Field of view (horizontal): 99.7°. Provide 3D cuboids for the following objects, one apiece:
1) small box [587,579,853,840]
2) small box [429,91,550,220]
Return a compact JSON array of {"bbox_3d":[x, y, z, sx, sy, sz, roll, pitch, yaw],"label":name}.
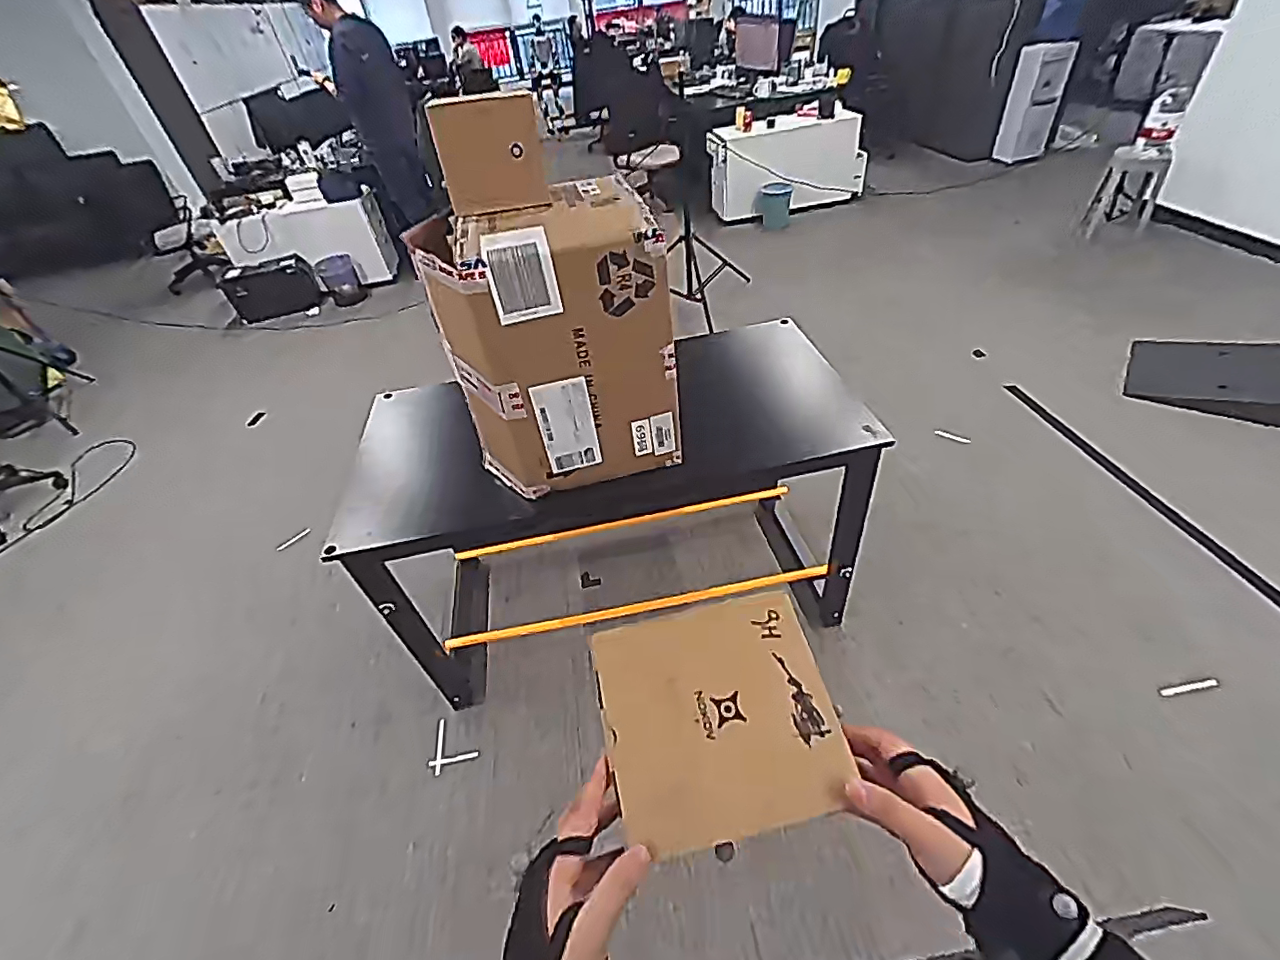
[{"bbox_3d":[0.060,0.214,0.492,0.179,0.176,0.168,-12,56,-4],"label":"small box"},{"bbox_3d":[-0.266,-0.595,0.990,0.179,0.176,0.168,-13,39,-6],"label":"small box"}]
